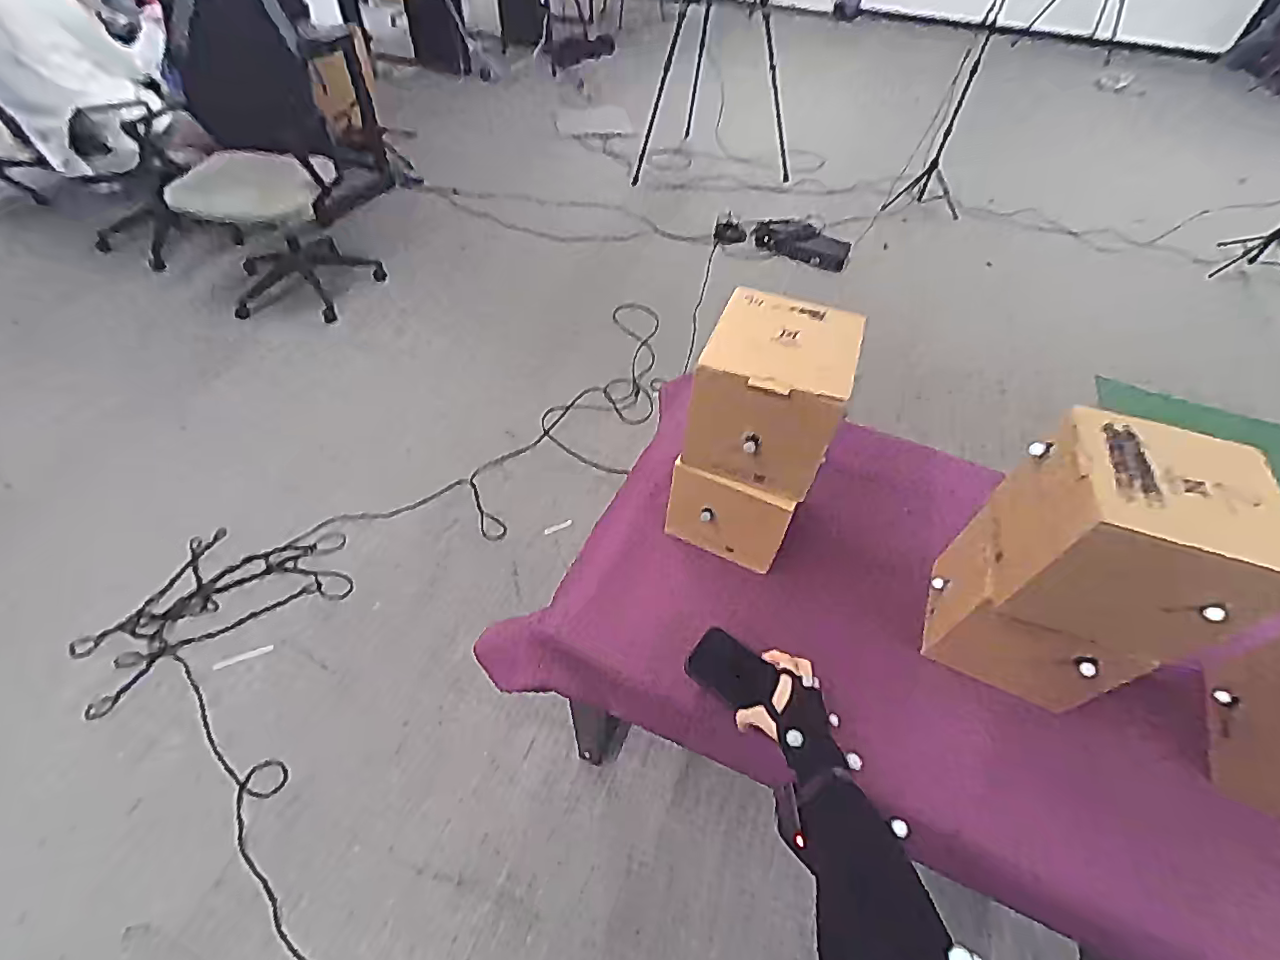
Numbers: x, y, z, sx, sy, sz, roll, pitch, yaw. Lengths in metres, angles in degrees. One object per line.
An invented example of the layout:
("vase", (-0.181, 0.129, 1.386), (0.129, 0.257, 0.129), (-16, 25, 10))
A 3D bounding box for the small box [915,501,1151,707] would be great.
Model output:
("small box", (0.486, 0.164, 0.689), (0.179, 0.176, 0.168), (23, 52, 15))

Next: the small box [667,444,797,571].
("small box", (0.148, 0.004, 0.803), (0.168, 0.176, 0.179), (23, 53, 15))

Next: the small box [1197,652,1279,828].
("small box", (0.782, 0.301, 0.594), (0.179, 0.176, 0.168), (28, 54, 19))

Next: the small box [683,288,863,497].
("small box", (0.159, -0.106, 0.682), (0.168, 0.176, 0.179), (19, 53, 12))
